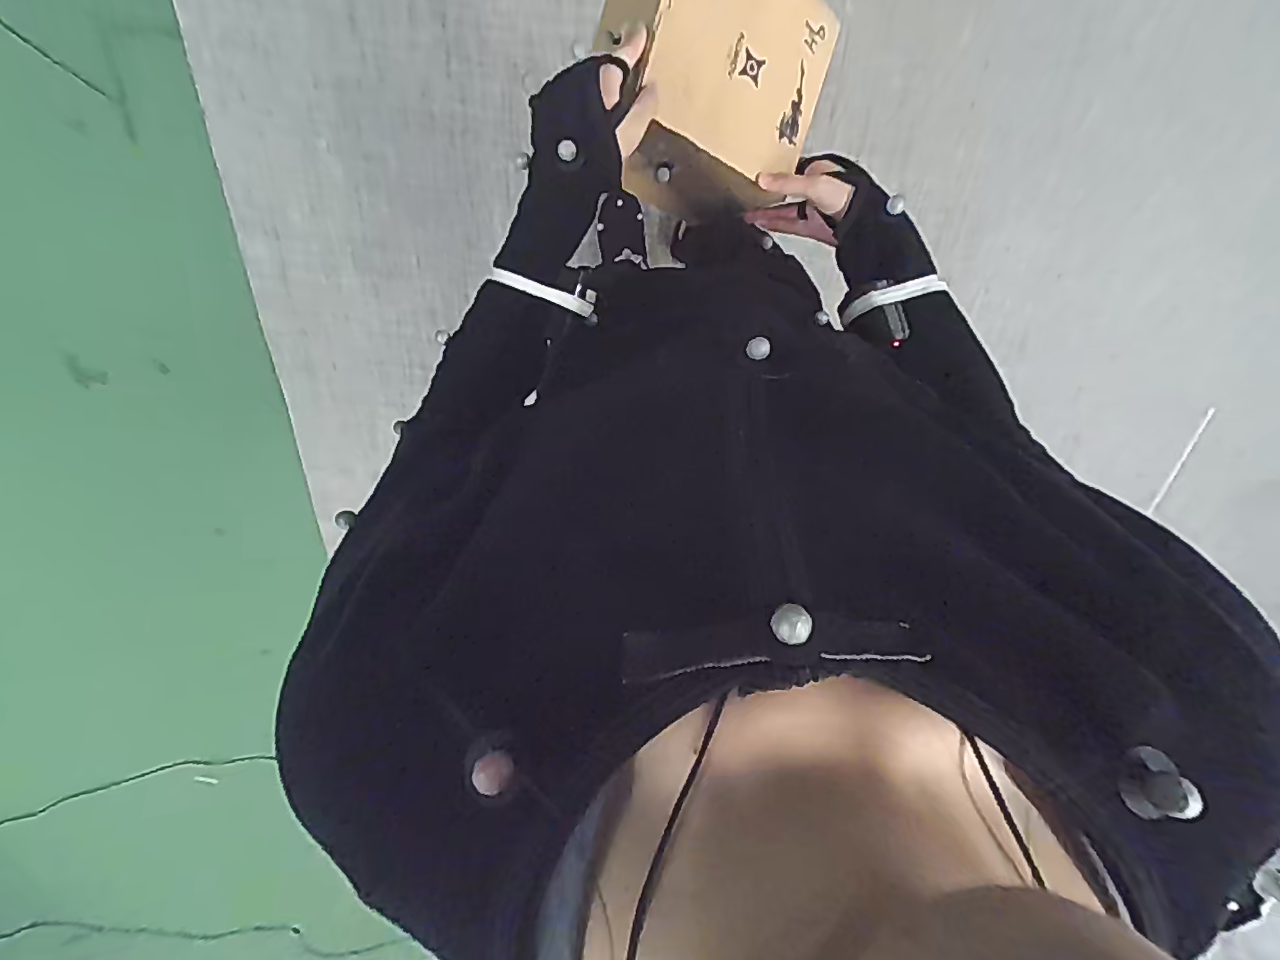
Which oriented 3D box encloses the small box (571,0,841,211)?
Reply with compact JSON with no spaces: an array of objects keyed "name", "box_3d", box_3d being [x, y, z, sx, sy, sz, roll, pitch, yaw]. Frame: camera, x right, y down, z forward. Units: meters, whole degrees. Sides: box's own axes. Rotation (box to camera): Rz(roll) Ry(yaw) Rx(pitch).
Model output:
[{"name":"small box","box_3d":[0.050,-0.385,0.527,0.179,0.176,0.168,13,100,-28]}]
